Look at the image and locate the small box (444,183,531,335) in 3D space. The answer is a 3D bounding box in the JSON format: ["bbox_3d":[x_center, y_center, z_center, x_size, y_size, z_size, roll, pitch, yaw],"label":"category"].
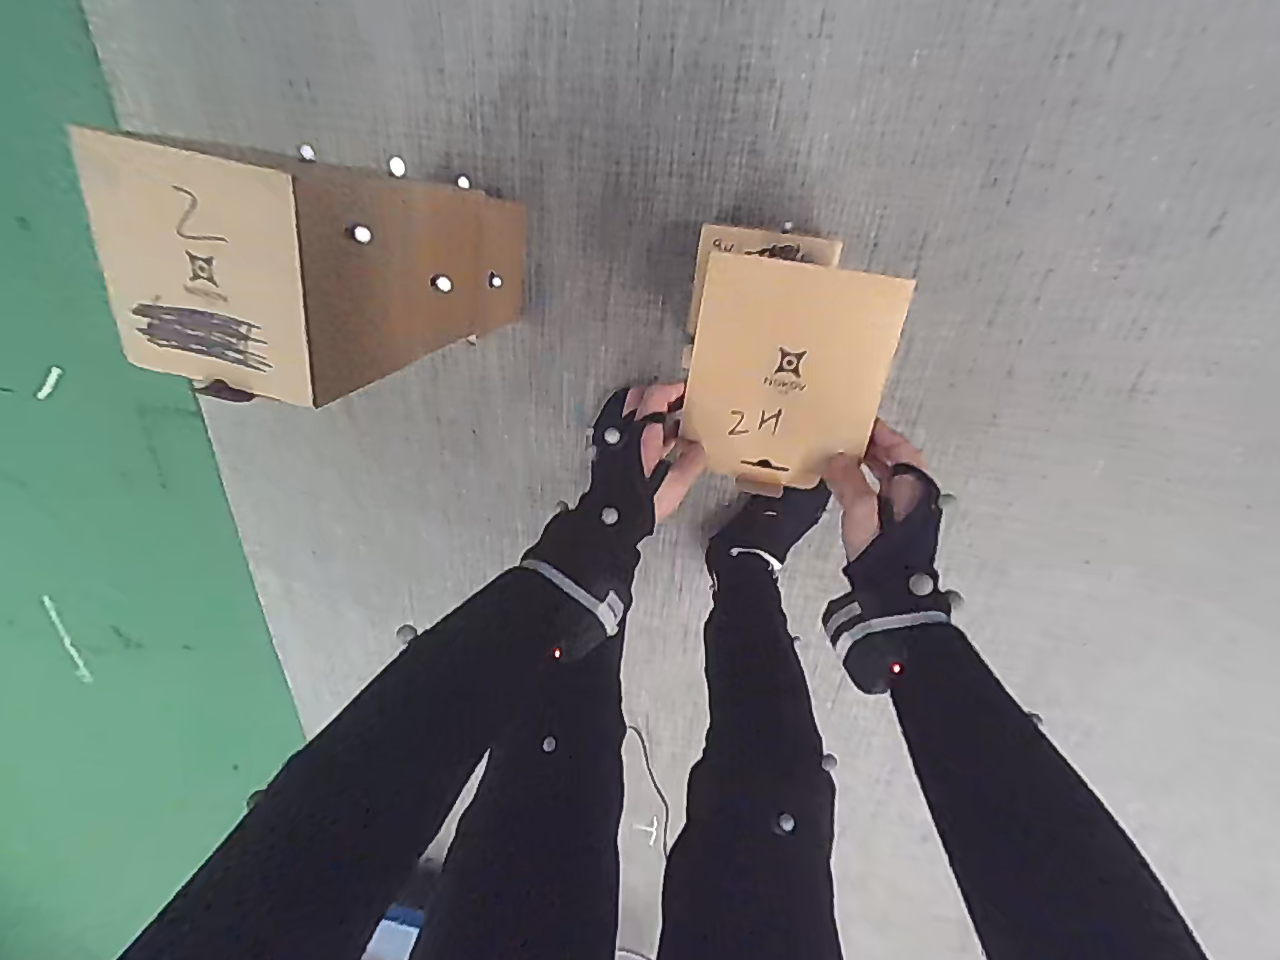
[{"bbox_3d":[-0.266,-0.327,0.780,0.168,0.176,0.179,13,116,3],"label":"small box"}]

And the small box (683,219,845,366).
[{"bbox_3d":[0.161,-0.249,0.739,0.168,0.176,0.179,11,118,5],"label":"small box"}]

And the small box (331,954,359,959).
[{"bbox_3d":[-0.885,1.572,1.622,0.179,0.176,0.168,10,116,5],"label":"small box"}]

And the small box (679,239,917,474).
[{"bbox_3d":[0.141,-0.127,0.541,0.168,0.176,0.179,12,111,5],"label":"small box"}]
